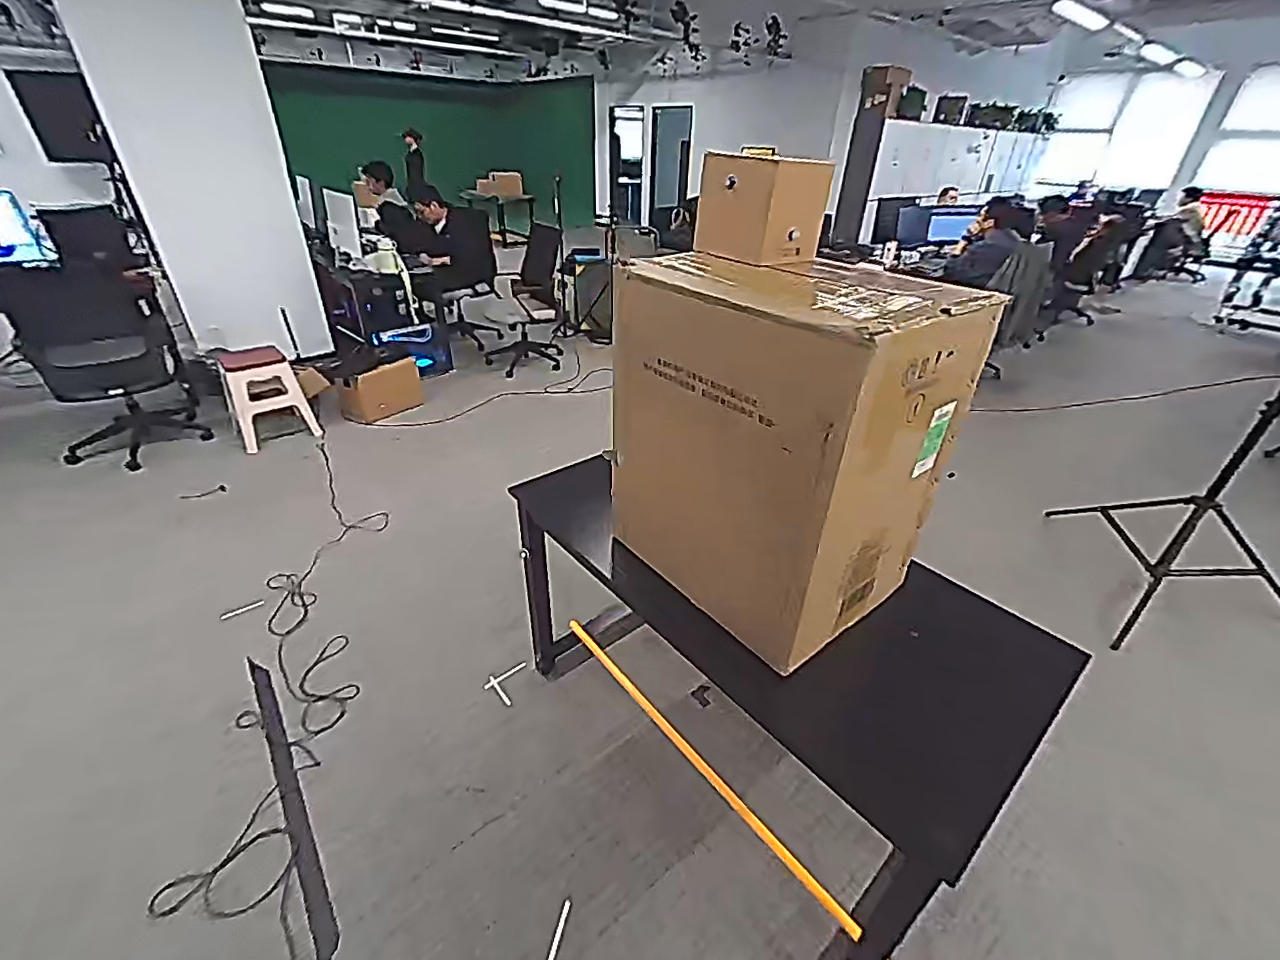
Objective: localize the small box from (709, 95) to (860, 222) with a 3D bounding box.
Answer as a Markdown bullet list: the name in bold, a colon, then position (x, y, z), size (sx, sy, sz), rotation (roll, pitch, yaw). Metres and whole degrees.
- **small box**: position (0.239, -0.552, 0.936), size (0.168, 0.176, 0.179), rotation (-21, 40, -34)
